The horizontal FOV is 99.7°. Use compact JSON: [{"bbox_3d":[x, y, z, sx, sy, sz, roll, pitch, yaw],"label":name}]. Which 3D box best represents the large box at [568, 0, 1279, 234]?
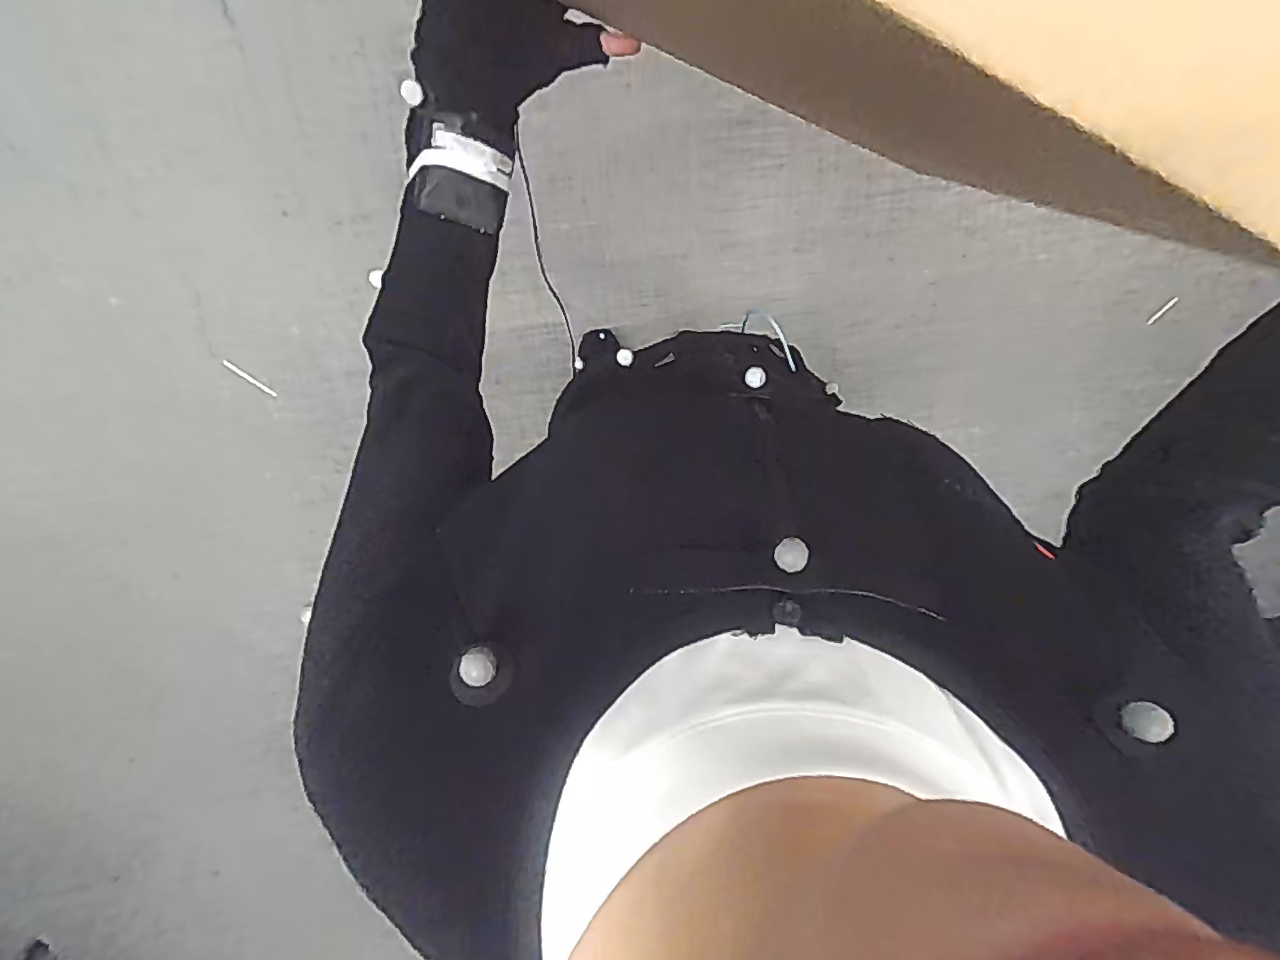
[{"bbox_3d":[0.163,-0.332,0.209,0.408,0.320,0.320,5,126,-23],"label":"large box"}]
